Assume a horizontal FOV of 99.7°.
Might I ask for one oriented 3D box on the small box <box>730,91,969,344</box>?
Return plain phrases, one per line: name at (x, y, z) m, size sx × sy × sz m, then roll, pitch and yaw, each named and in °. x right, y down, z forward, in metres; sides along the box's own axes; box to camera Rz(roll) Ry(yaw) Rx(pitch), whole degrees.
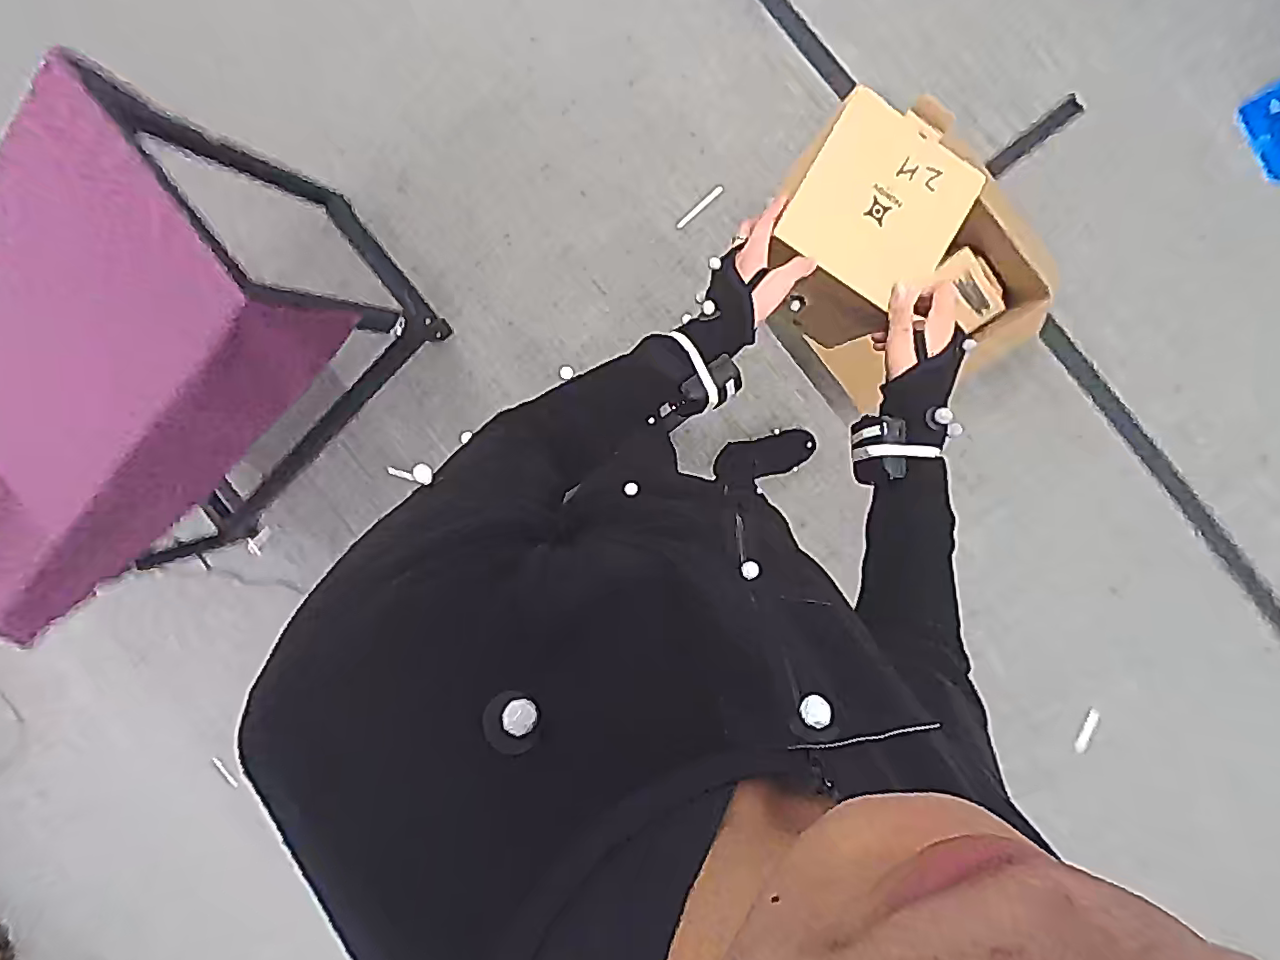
small box at (0.224, -0.282, 0.631) m, size 0.168 × 0.176 × 0.179 m, roll 30°, pitch 89°, yaw -8°
